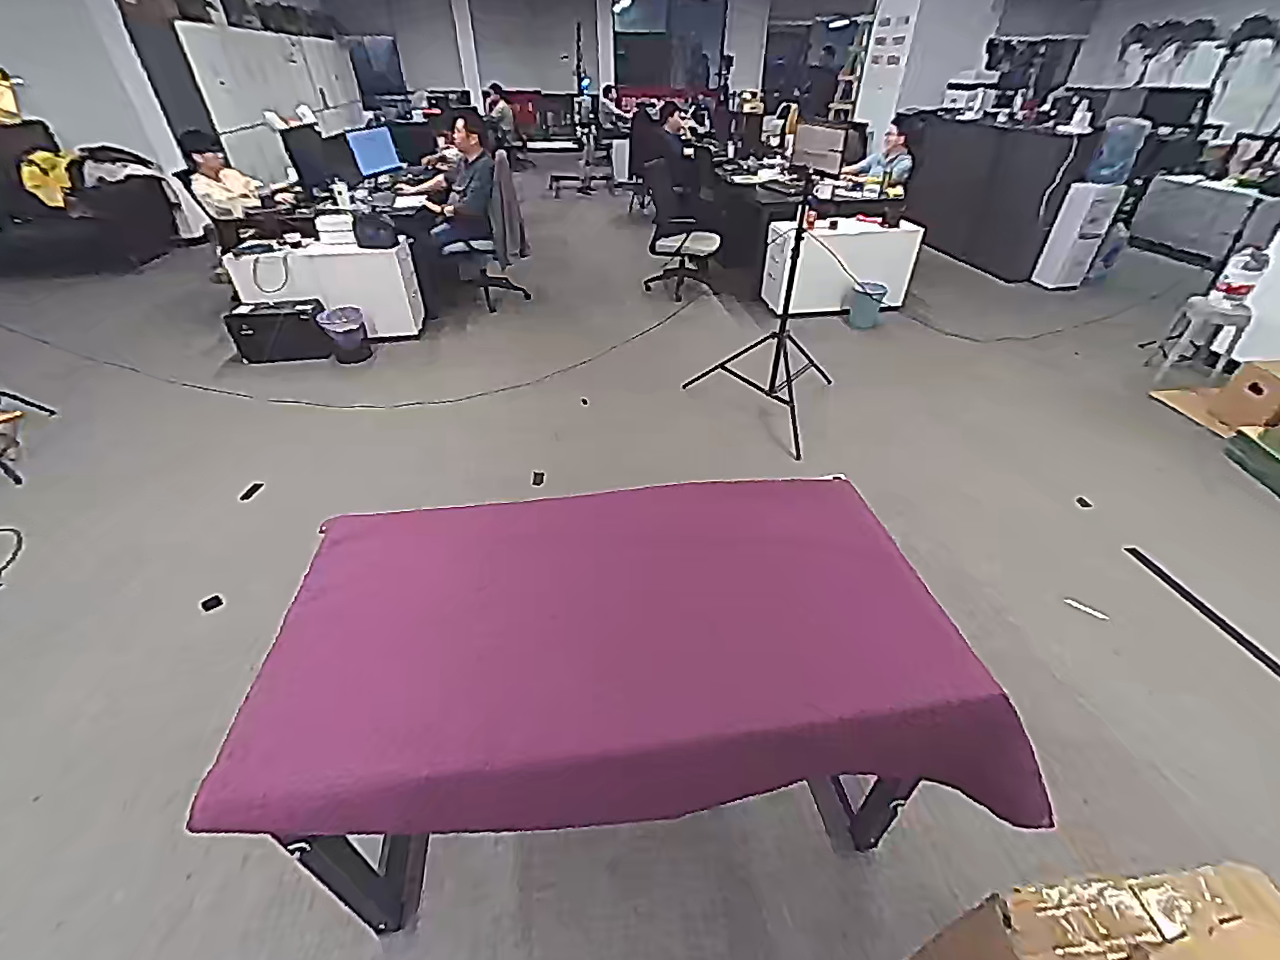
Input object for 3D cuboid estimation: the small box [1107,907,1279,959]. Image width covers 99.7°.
[{"bbox_3d":[0.641,0.607,0.581,0.168,0.176,0.179,-9,39,-8],"label":"small box"}]
